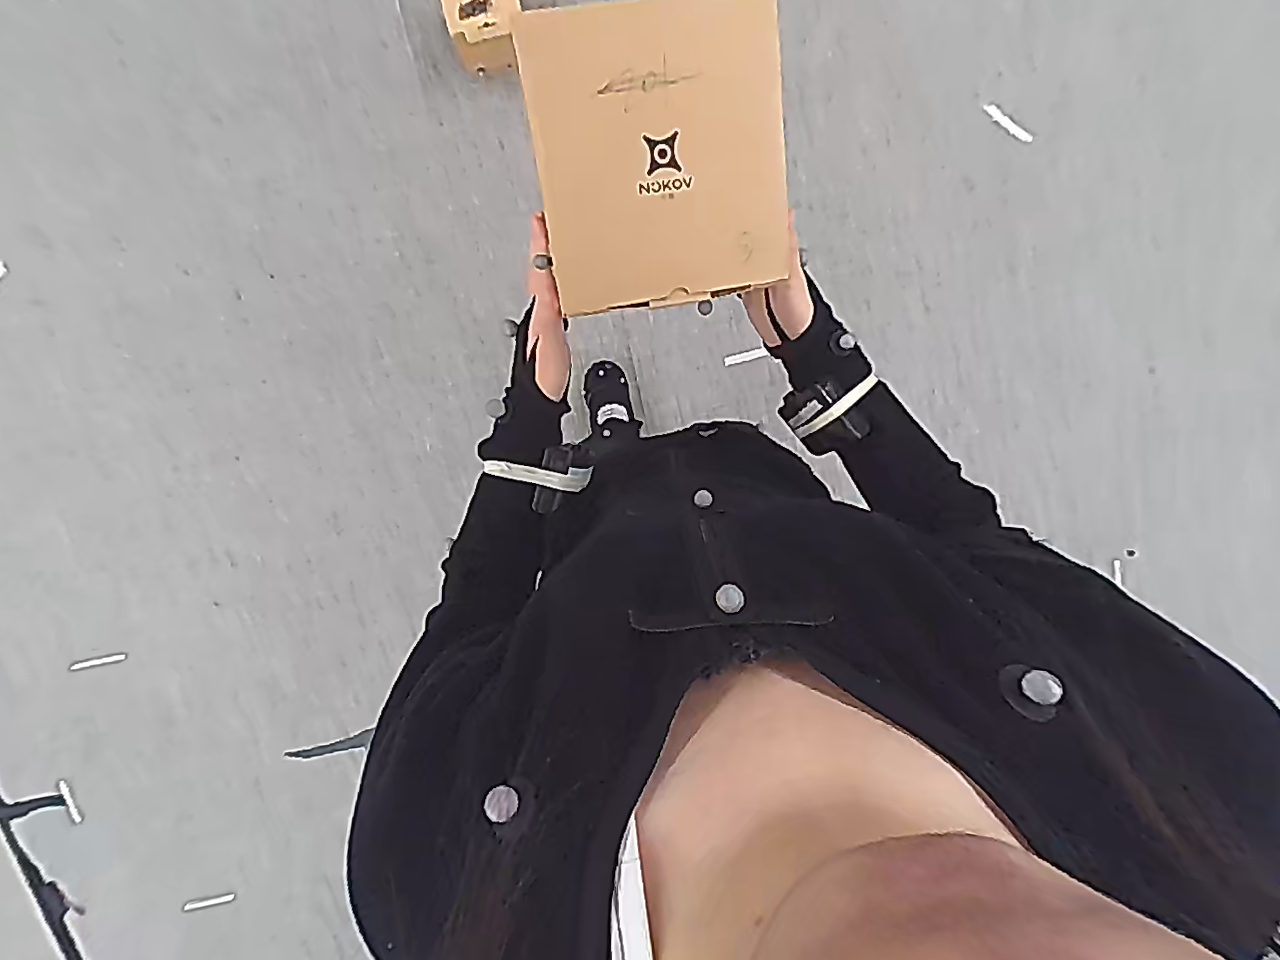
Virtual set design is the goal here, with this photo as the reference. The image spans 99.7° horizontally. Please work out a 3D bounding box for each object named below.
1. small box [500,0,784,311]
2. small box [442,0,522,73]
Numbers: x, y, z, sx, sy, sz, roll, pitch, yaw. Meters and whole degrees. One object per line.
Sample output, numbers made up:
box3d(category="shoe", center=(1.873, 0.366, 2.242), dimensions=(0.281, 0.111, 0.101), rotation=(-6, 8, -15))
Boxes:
box3d(category="small box", center=(-0.001, -0.235, 0.424), dimensions=(0.168, 0.176, 0.179), rotation=(-12, 108, -5))
box3d(category="small box", center=(-0.351, -1.074, 1.234), dimensions=(0.168, 0.176, 0.179), rotation=(-14, 99, 0))
